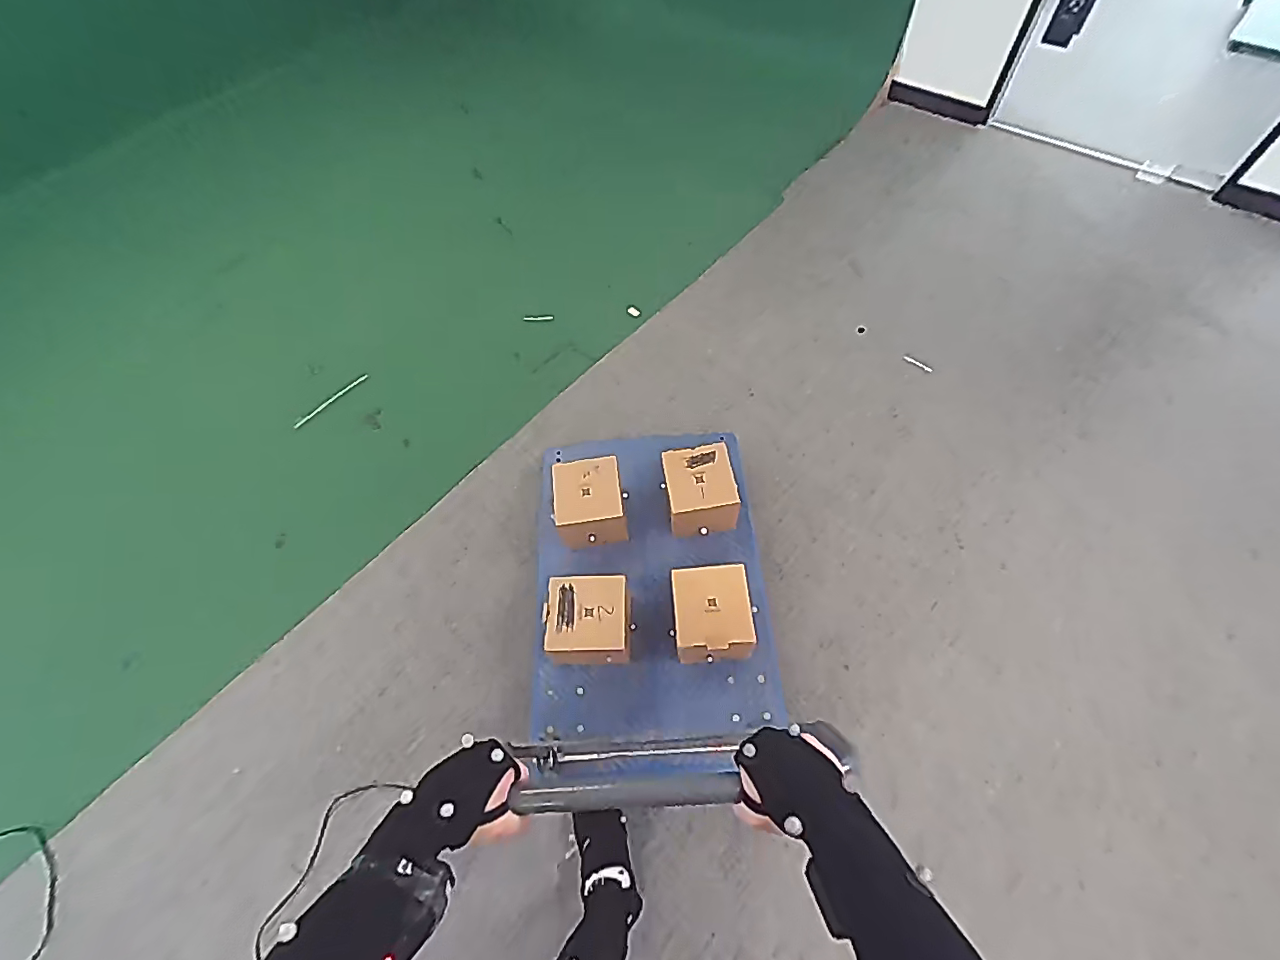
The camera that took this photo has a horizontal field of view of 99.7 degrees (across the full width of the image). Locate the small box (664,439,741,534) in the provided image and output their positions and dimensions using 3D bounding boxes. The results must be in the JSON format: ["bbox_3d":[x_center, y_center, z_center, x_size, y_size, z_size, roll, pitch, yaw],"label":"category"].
[{"bbox_3d":[0.154,0.021,1.390,0.168,0.176,0.179,-9,62,0],"label":"small box"}]

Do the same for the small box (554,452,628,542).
[{"bbox_3d":[-0.124,0.052,1.397,0.168,0.176,0.179,-7,61,0],"label":"small box"}]

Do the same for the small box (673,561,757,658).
[{"bbox_3d":[0.164,0.300,1.240,0.168,0.176,0.179,-5,62,2],"label":"small box"}]
